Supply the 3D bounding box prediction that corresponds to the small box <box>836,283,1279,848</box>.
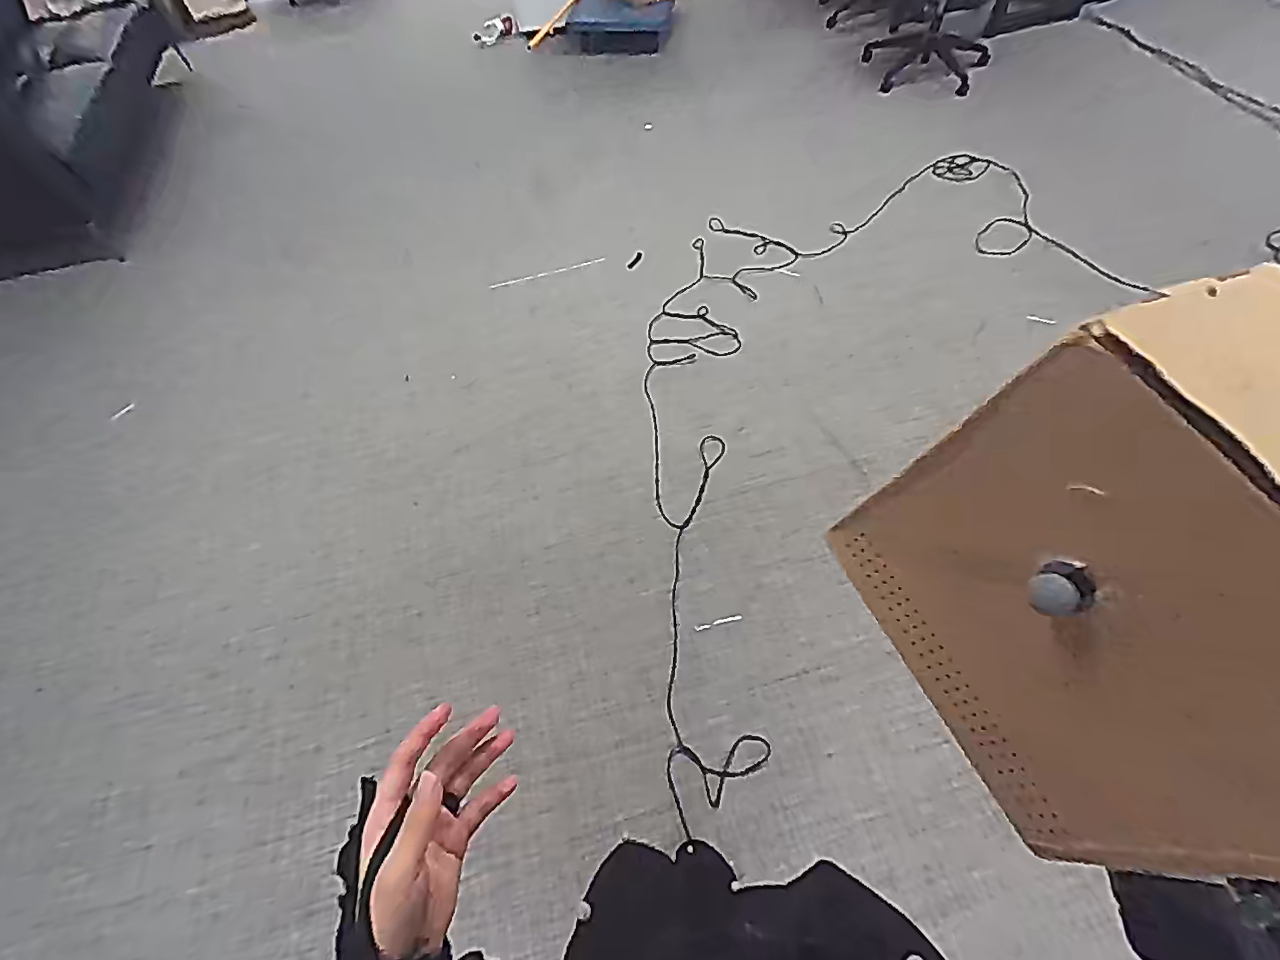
[{"bbox_3d":[0.230,0.042,0.251,0.168,0.176,0.179,-19,65,-25],"label":"small box"}]
